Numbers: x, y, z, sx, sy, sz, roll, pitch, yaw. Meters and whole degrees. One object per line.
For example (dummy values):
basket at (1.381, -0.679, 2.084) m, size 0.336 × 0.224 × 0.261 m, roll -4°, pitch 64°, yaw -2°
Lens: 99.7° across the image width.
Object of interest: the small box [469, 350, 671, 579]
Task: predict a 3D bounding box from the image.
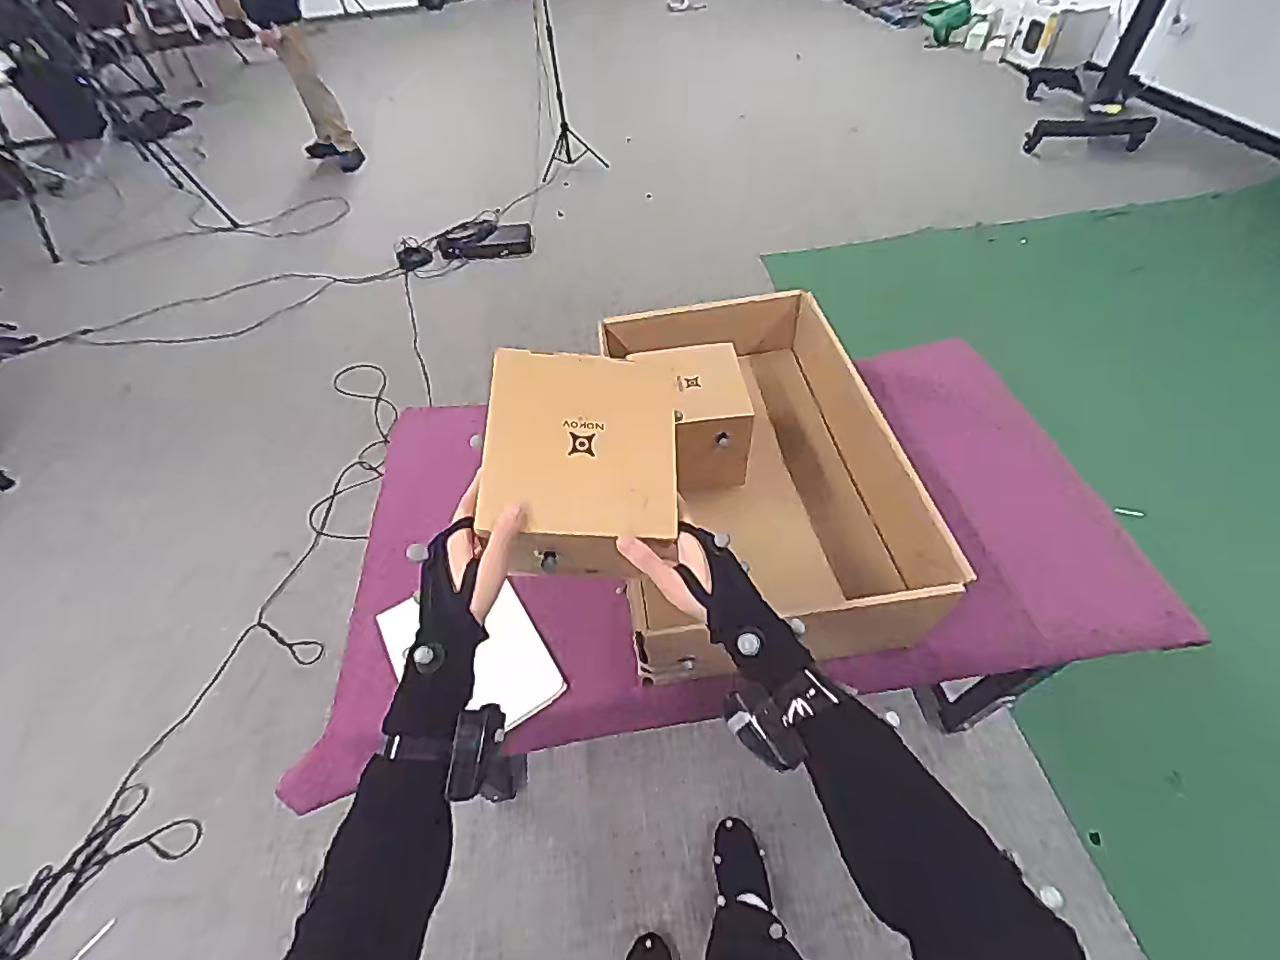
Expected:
small box at (-0.065, -0.003, 0.538) m, size 0.168 × 0.176 × 0.179 m, roll 3°, pitch 66°, yaw -8°
